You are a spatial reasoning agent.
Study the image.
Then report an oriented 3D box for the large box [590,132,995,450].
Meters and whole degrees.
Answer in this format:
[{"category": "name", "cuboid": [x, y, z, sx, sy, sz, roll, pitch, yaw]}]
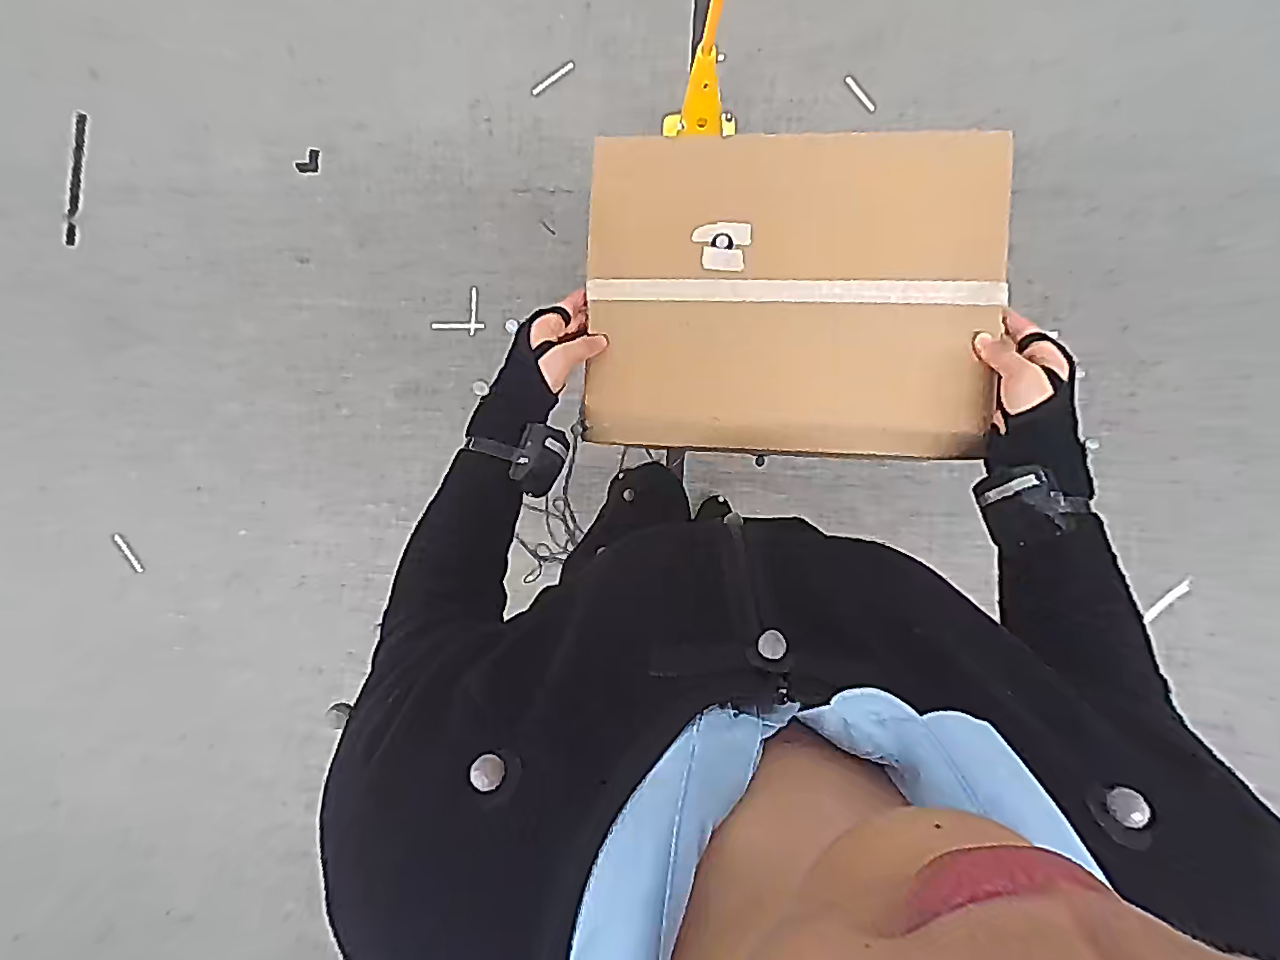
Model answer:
[{"category": "large box", "cuboid": [0.165, -0.196, 0.701, 0.408, 0.320, 0.320, 2, 91, 7]}]
